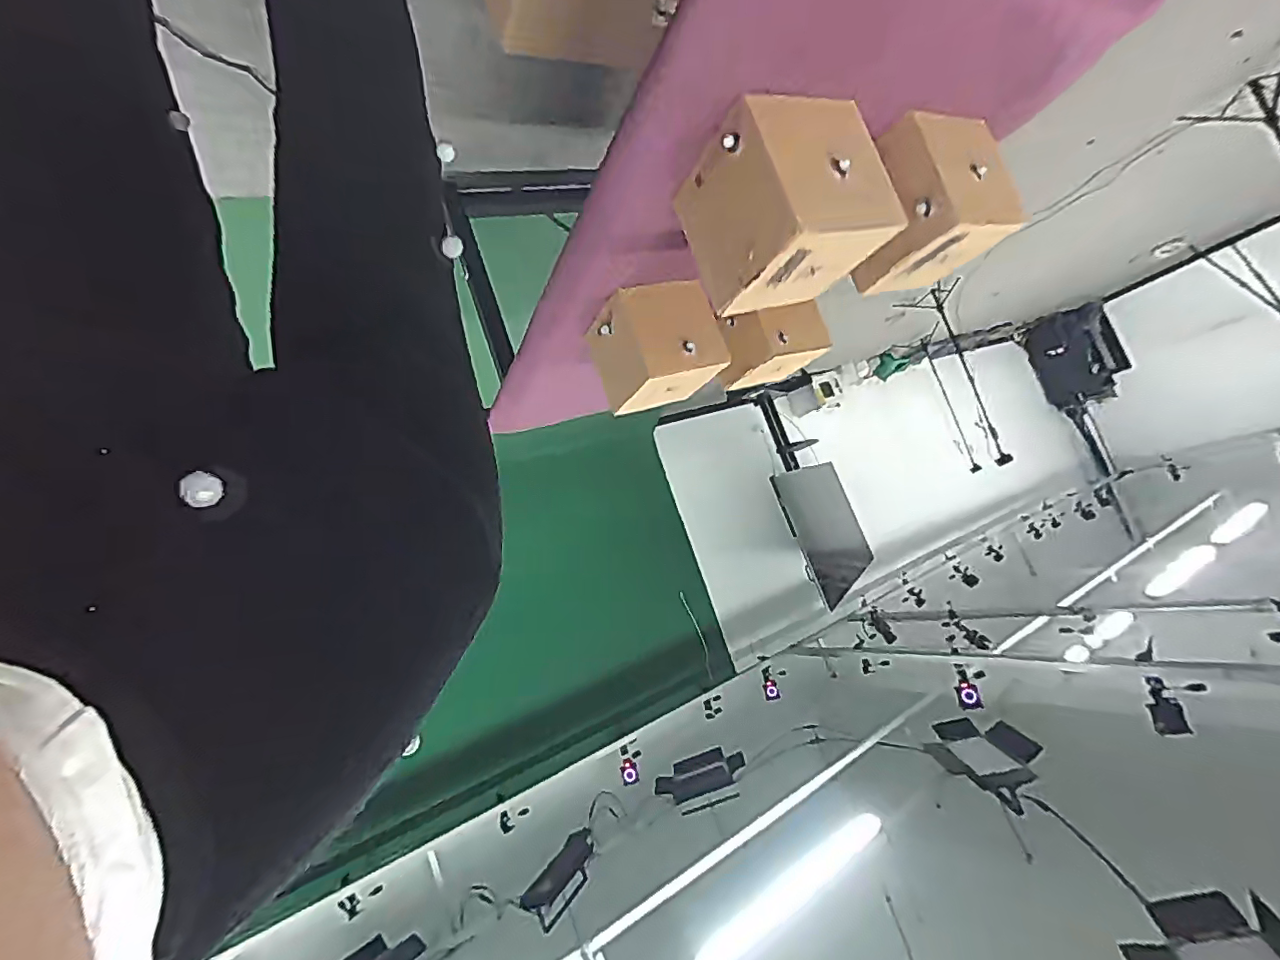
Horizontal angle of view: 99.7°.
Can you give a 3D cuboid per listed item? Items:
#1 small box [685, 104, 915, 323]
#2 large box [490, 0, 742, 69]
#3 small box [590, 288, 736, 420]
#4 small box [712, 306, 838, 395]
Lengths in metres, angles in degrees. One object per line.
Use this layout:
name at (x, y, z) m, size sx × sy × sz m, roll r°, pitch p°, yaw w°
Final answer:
small box at (0.180, -0.315, 0.651) m, size 0.179 × 0.176 × 0.168 m, roll -18°, pitch 174°, yaw -26°
large box at (-0.040, -0.923, 0.846) m, size 0.408 × 0.320 × 0.320 m, roll -17°, pitch 174°, yaw -27°
small box at (0.035, -0.228, 0.971) m, size 0.179 × 0.176 × 0.168 m, roll -17°, pitch 172°, yaw -29°
small box at (0.264, -0.293, 1.110) m, size 0.179 × 0.176 × 0.168 m, roll -14°, pitch 172°, yaw -29°
